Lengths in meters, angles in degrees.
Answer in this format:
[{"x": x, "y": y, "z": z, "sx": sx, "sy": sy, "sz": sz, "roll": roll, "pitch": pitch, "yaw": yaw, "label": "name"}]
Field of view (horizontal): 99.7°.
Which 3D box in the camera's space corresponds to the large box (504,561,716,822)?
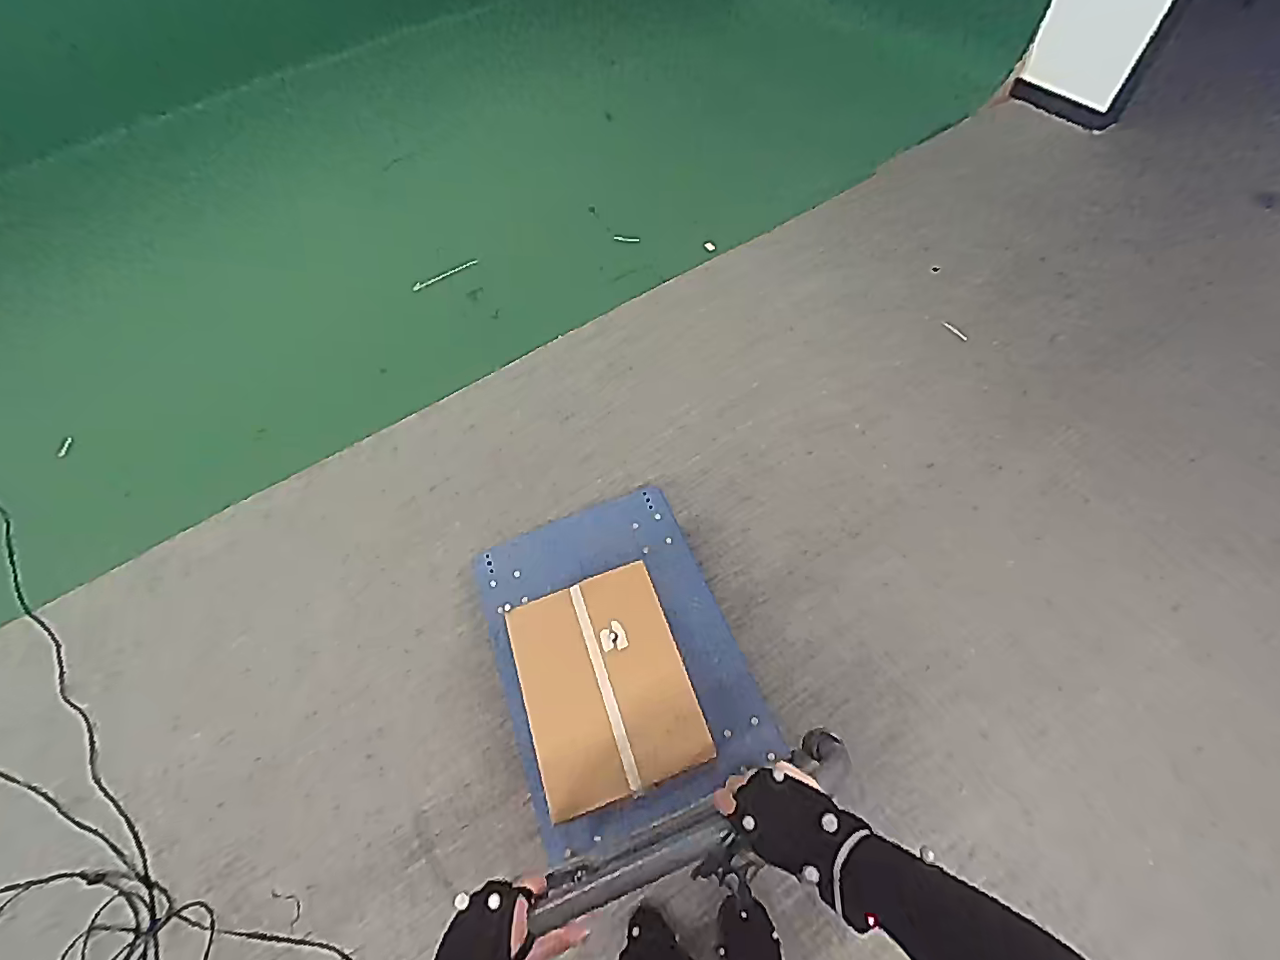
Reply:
[{"x": -0.056, "y": 0.453, "z": 1.164, "sx": 0.320, "sy": 0.320, "sz": 0.408, "roll": -20, "pitch": 59, "yaw": -5, "label": "large box"}]
